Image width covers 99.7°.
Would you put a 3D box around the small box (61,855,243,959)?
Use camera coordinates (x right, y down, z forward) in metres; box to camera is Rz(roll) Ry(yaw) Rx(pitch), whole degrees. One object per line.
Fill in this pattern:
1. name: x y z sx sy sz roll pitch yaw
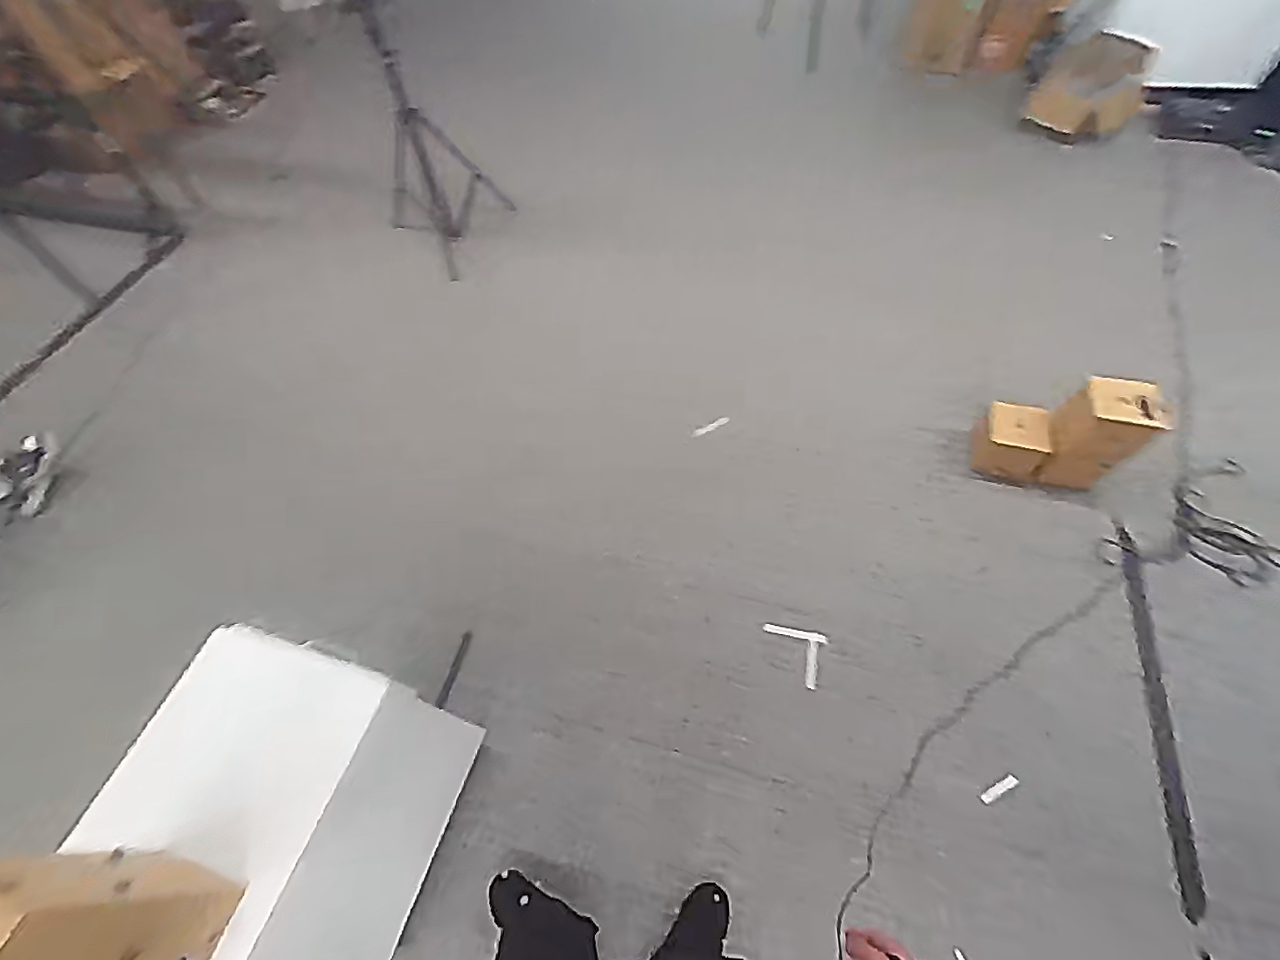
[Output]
1. small box: -0.709 0.633 0.735 0.179 0.176 0.168 11 60 13

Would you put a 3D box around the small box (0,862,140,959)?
1. small box: -0.719 0.548 0.594 0.168 0.176 0.179 11 60 14
